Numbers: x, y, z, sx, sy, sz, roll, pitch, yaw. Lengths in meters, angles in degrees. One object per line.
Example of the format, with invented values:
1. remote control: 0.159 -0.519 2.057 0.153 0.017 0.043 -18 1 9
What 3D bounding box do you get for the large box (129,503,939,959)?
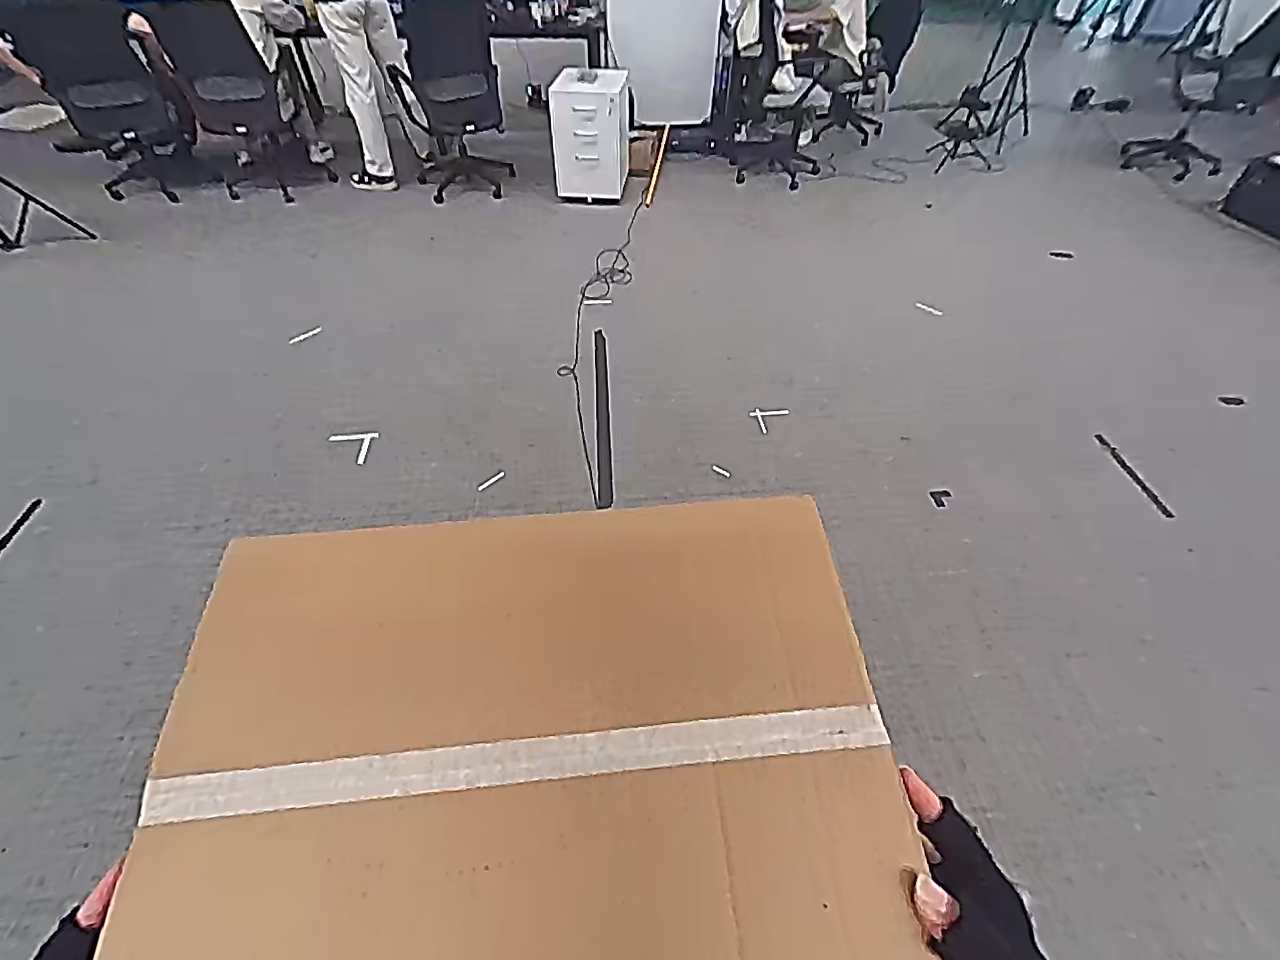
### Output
1. large box: -0.062 0.242 0.441 0.408 0.320 0.320 -4 58 -3
